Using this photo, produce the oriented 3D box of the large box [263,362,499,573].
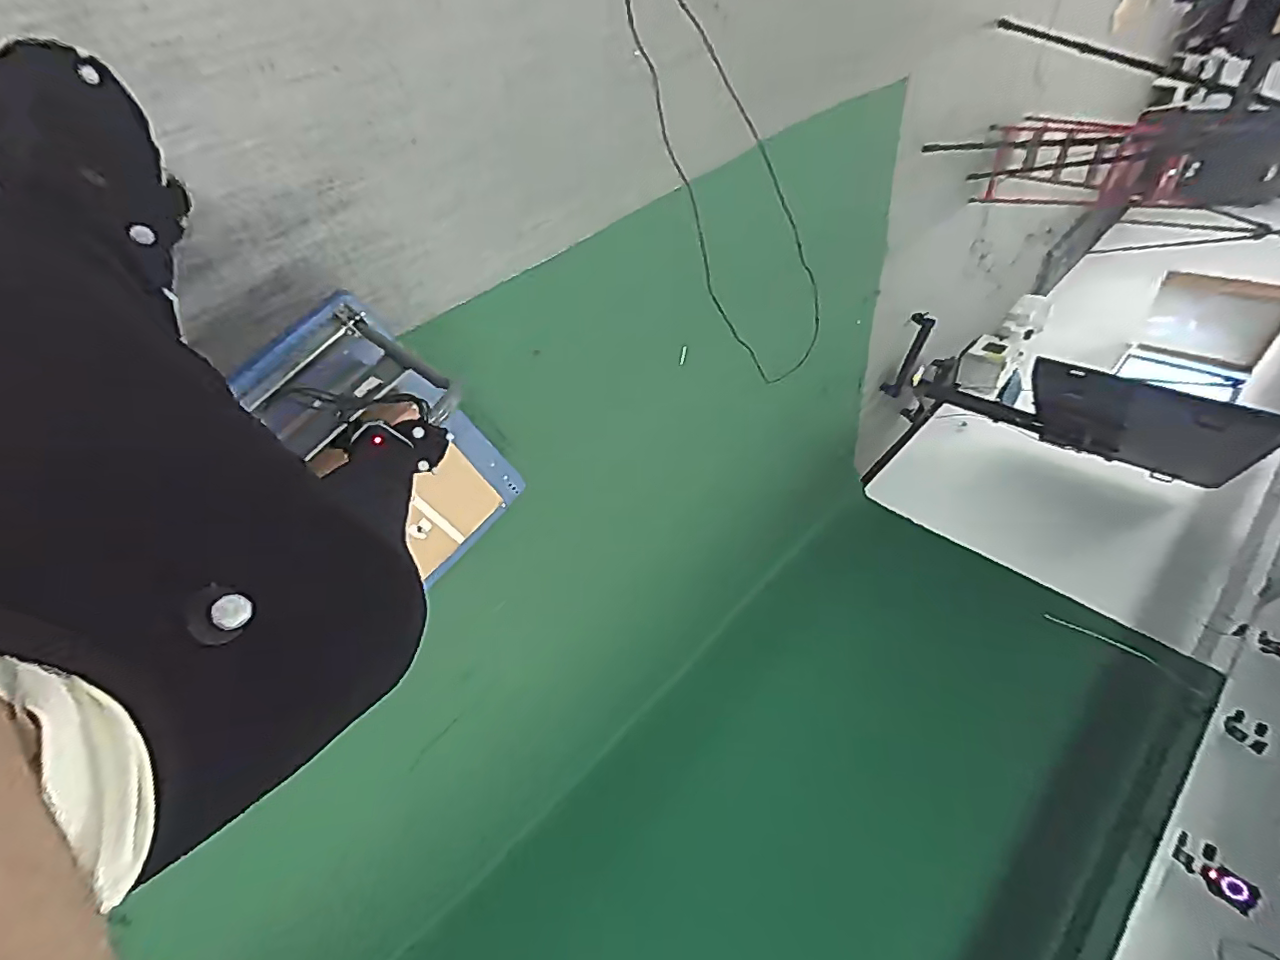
[{"bbox_3d":[-0.656,-0.031,1.408,0.320,0.320,0.408,-46,142,-15],"label":"large box"}]
